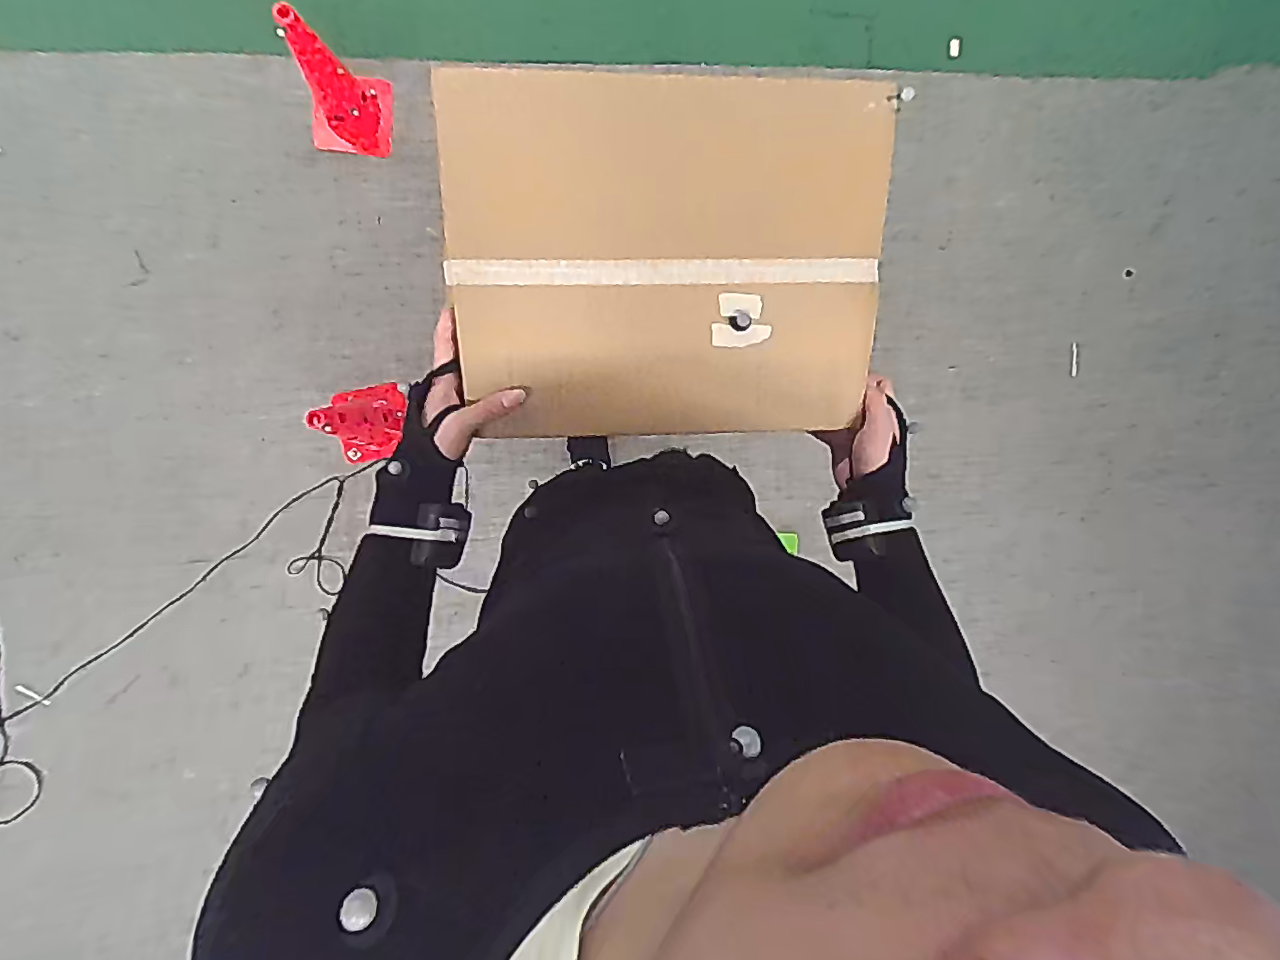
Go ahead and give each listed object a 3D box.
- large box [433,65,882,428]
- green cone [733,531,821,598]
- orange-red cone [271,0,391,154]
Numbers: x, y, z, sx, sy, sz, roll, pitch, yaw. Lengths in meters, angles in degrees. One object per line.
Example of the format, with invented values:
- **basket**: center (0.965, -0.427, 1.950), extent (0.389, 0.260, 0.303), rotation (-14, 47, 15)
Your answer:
- **large box**: center (0.009, -0.252, 0.654), extent (0.408, 0.320, 0.320), rotation (-2, 108, -5)
- **green cone**: center (0.411, 0.269, 1.515), extent (0.200, 0.368, 0.202), rotation (2, 93, -8)
- **orange-red cone**: center (-0.758, -0.974, 1.279), extent (0.199, 0.360, 0.198), rotation (4, 93, -6)
